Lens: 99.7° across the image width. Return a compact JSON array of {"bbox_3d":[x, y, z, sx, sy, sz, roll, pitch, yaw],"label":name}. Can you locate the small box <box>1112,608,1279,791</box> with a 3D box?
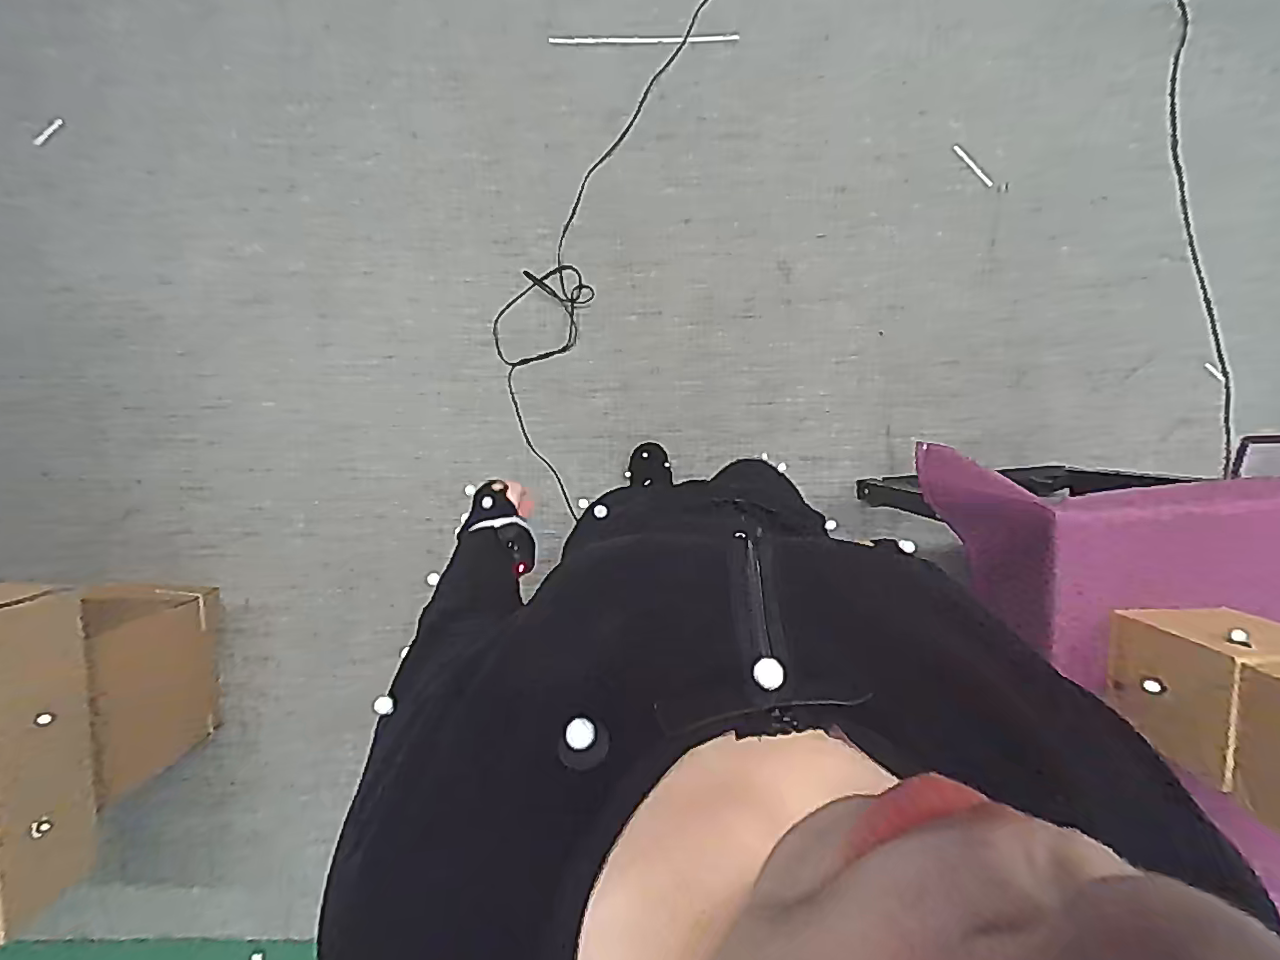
[{"bbox_3d":[0.768,0.273,0.700,0.179,0.176,0.168,-1,96,0],"label":"small box"}]

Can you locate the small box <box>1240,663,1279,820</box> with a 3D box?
[{"bbox_3d":[0.770,0.295,0.539,0.168,0.176,0.179,-2,96,1],"label":"small box"}]

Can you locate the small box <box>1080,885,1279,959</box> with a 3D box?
[{"bbox_3d":[0.754,0.698,0.745,0.168,0.176,0.179,-2,96,0],"label":"small box"}]
